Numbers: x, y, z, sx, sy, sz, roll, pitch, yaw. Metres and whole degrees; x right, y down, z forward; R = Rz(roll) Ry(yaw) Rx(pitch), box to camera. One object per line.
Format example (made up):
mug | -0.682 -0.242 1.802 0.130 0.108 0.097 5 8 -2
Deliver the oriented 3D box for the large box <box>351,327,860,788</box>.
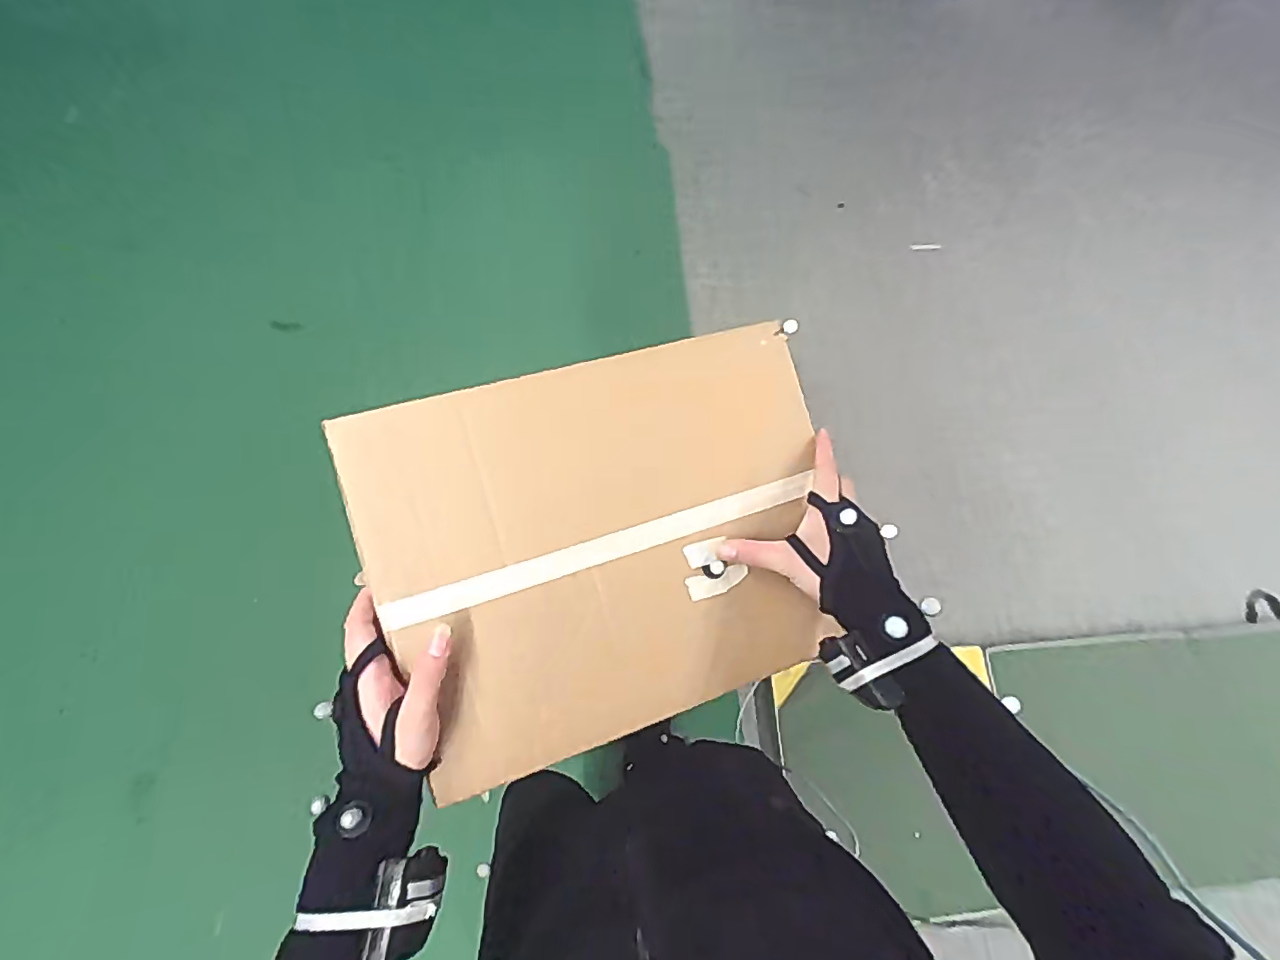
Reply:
large box | -0.045 0.061 0.624 0.408 0.320 0.320 -16 90 -15
